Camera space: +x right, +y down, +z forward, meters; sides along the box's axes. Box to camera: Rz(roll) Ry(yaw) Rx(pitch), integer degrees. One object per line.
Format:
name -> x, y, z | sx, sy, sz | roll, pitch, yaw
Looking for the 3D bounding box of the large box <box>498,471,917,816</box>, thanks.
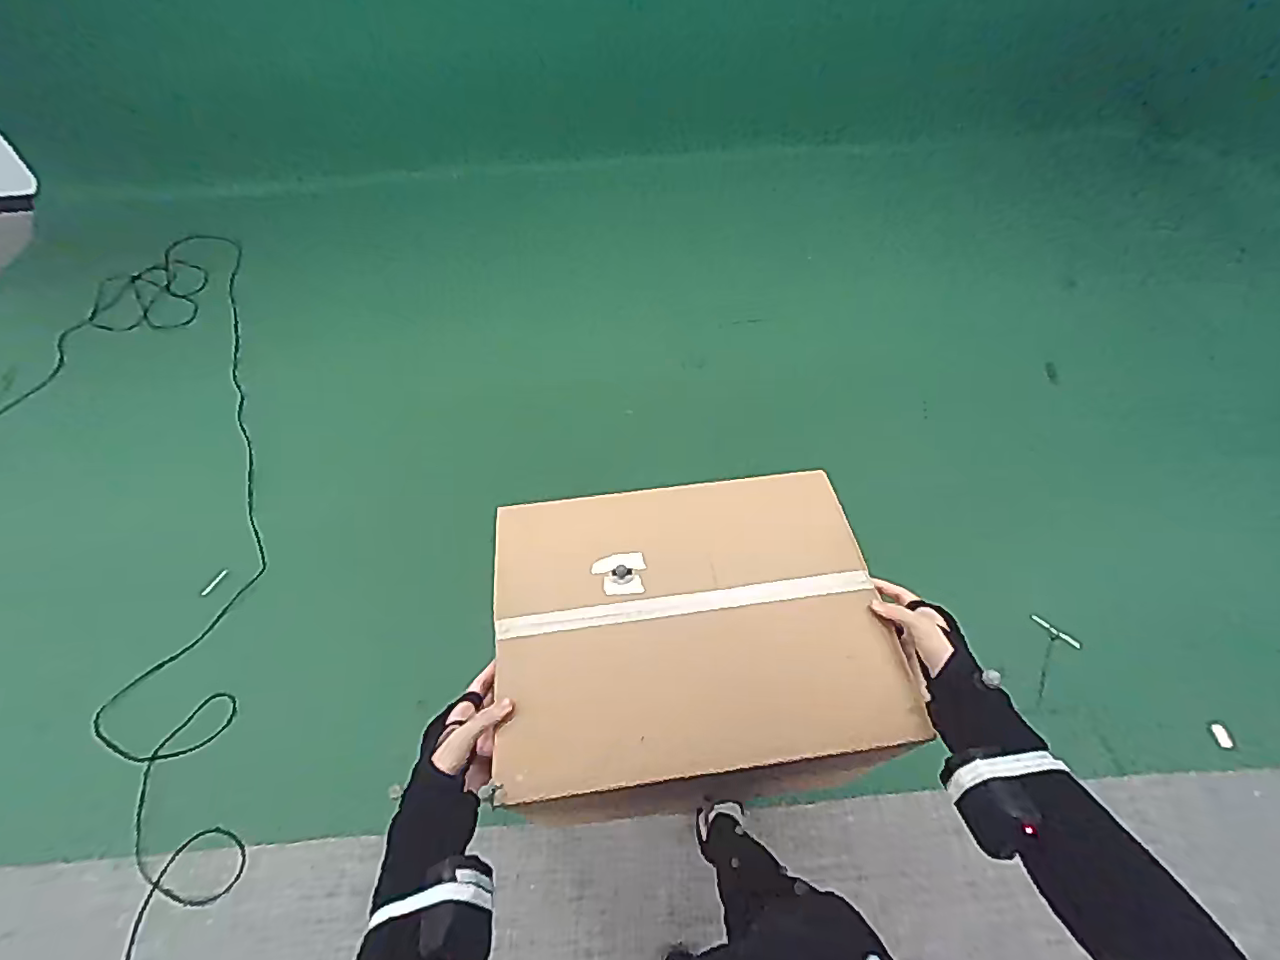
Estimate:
large box -> 0.053, 0.222, 0.704 | 0.408, 0.320, 0.320 | -7, 54, -3
